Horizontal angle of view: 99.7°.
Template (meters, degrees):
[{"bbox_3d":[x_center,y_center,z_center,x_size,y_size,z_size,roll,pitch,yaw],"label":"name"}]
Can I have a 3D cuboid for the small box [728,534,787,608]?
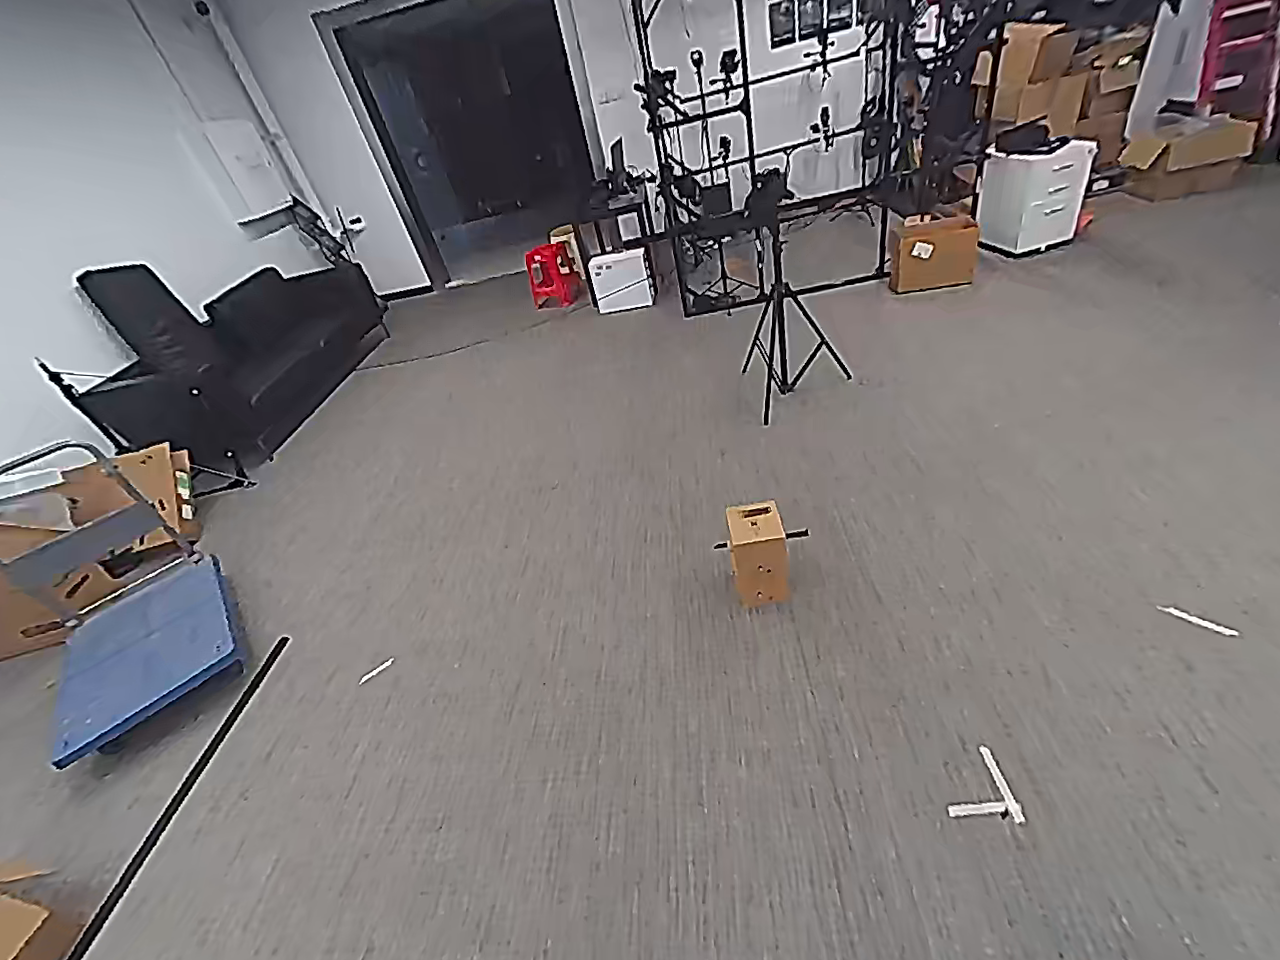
[{"bbox_3d":[0.410,0.317,1.889,0.168,0.176,0.179,-12,36,4],"label":"small box"}]
